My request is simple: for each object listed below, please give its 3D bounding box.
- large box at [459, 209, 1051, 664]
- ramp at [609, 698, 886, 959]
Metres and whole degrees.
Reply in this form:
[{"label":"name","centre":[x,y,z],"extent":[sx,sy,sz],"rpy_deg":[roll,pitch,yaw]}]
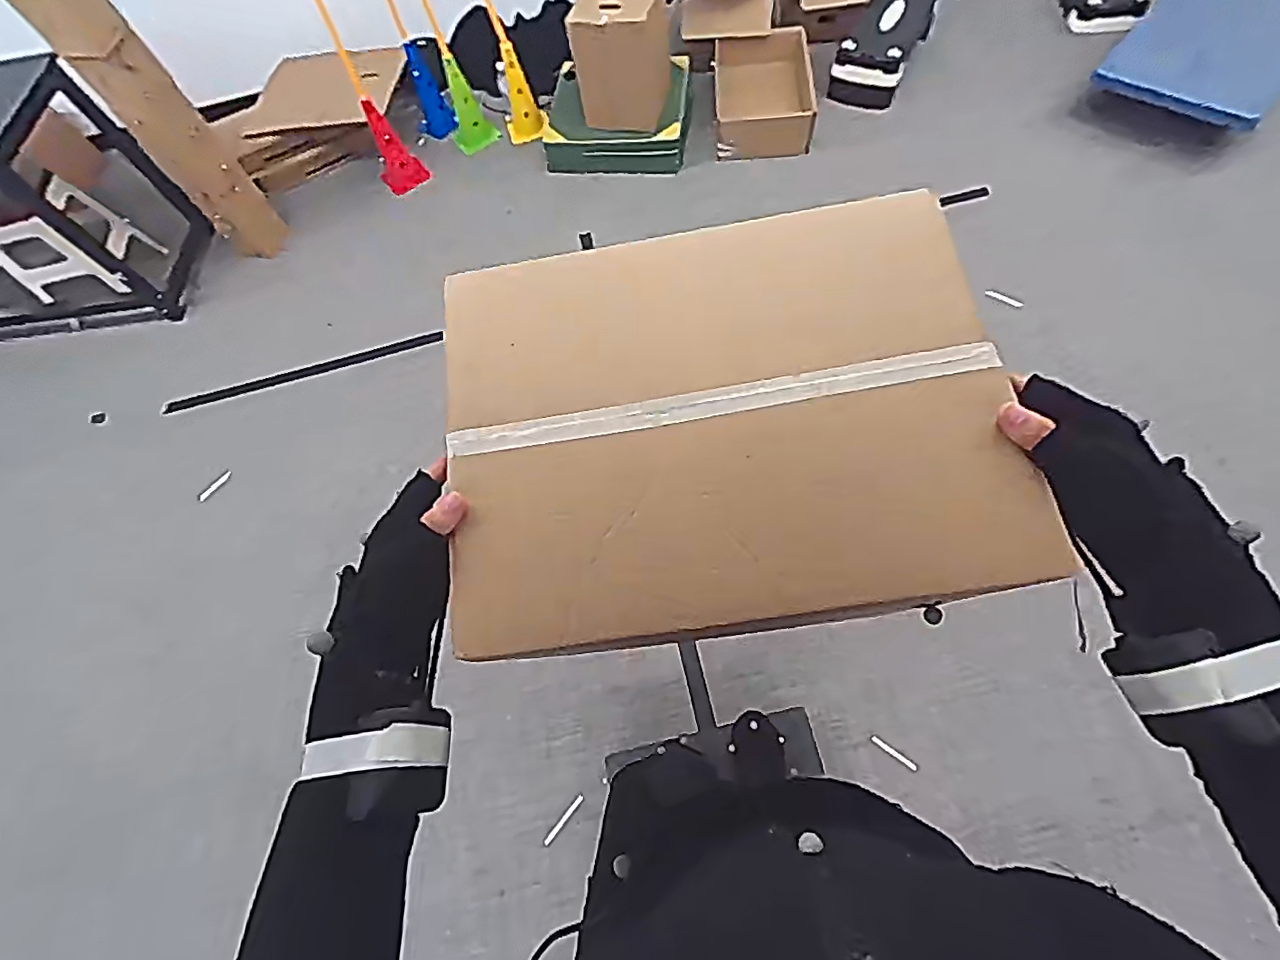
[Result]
[{"label":"large box","centre":[0.076,-0.005,0.552],"extent":[0.408,0.320,0.320],"rpy_deg":[-9,72,4]},{"label":"ramp","centre":[0.281,1.043,1.165],"extent":[0.509,0.206,0.991],"rpy_deg":[-16,65,-2]}]
